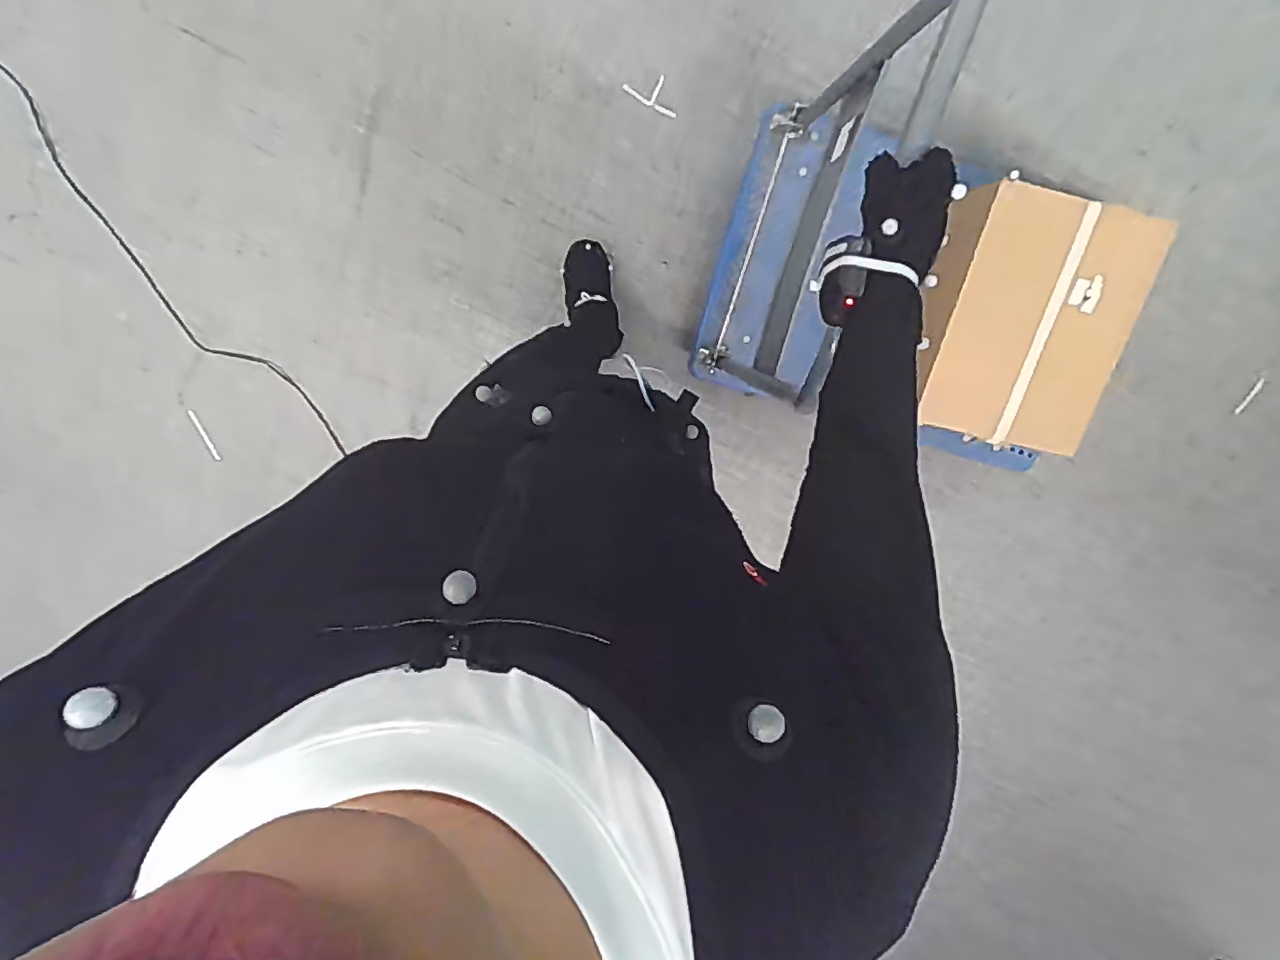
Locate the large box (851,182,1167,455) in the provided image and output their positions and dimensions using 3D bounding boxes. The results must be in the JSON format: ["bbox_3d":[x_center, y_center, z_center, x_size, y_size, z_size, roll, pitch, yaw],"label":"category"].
[{"bbox_3d":[0.672,-0.297,1.066,0.320,0.320,0.408,12,105,-5],"label":"large box"}]
